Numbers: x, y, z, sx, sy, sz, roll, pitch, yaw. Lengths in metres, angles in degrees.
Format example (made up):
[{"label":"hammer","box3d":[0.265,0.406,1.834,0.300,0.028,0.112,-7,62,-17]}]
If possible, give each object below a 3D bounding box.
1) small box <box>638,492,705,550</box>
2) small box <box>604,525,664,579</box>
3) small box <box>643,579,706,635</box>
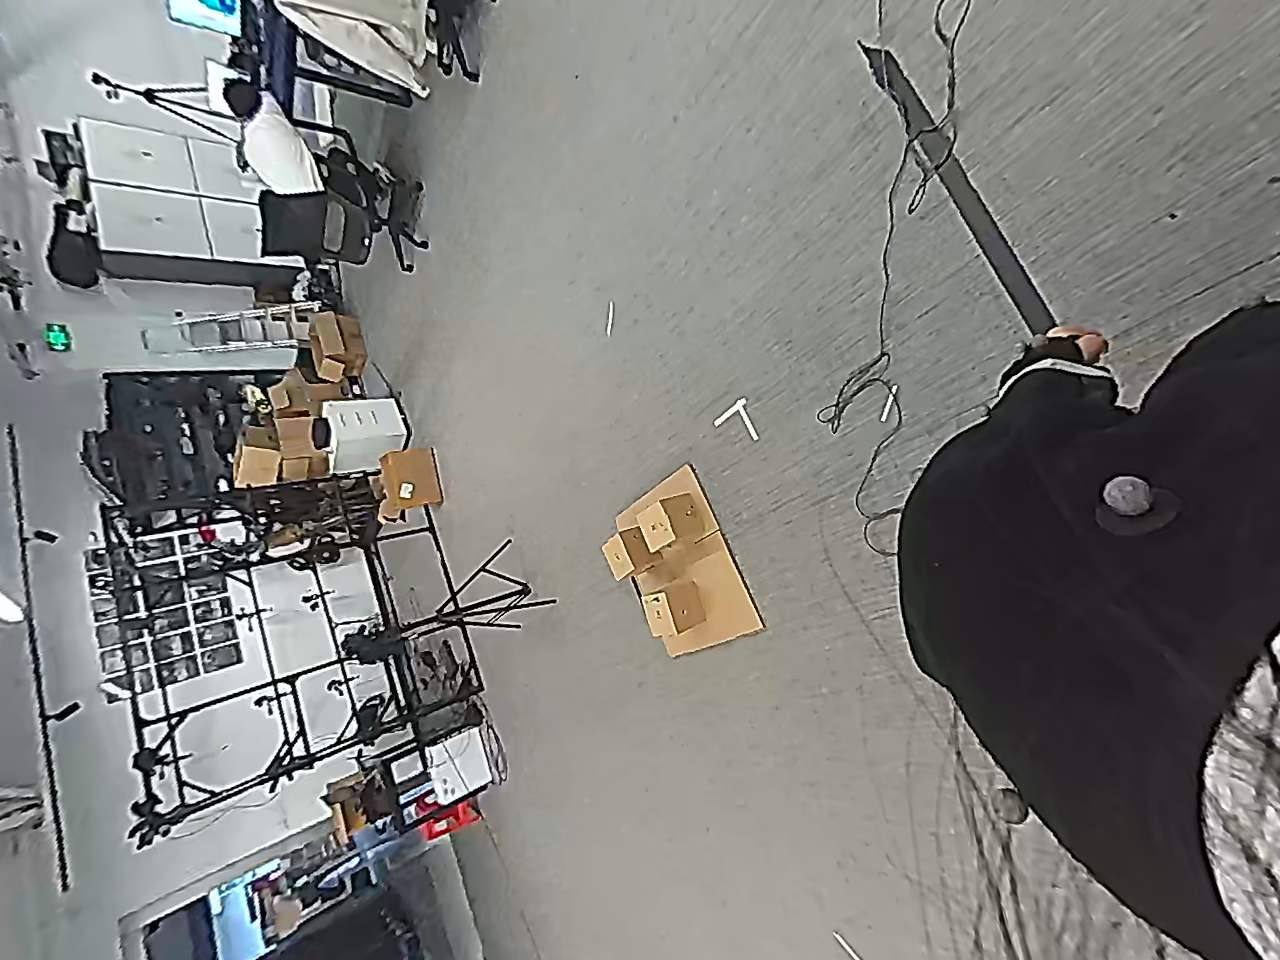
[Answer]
[{"label":"small box","box3d":[0.127,0.164,2.169,0.179,0.176,0.168,-37,71,47]},{"label":"small box","box3d":[-0.026,0.312,2.392,0.168,0.176,0.179,-45,64,47]},{"label":"small box","box3d":[0.145,0.524,2.233,0.168,0.176,0.179,-25,81,50]}]
